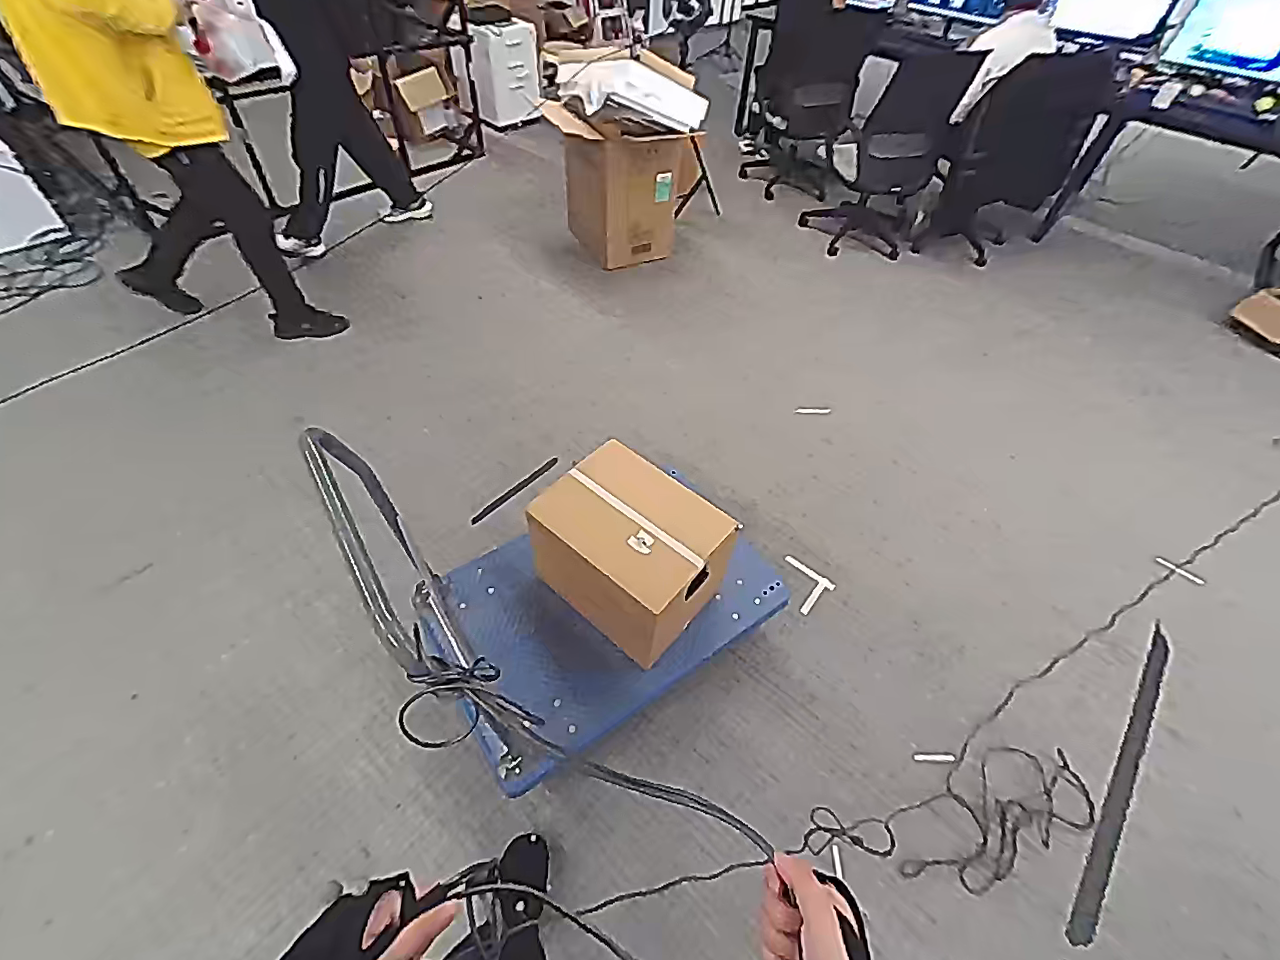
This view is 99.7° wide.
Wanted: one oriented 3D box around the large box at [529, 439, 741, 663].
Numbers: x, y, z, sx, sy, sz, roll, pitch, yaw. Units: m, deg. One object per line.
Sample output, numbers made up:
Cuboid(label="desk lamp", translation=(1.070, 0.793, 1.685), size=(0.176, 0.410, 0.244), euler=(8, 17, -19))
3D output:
Cuboid(label="large box", translation=(-0.023, 0.174, 1.361), size=(0.408, 0.320, 0.320), euler=(35, 58, 21))
